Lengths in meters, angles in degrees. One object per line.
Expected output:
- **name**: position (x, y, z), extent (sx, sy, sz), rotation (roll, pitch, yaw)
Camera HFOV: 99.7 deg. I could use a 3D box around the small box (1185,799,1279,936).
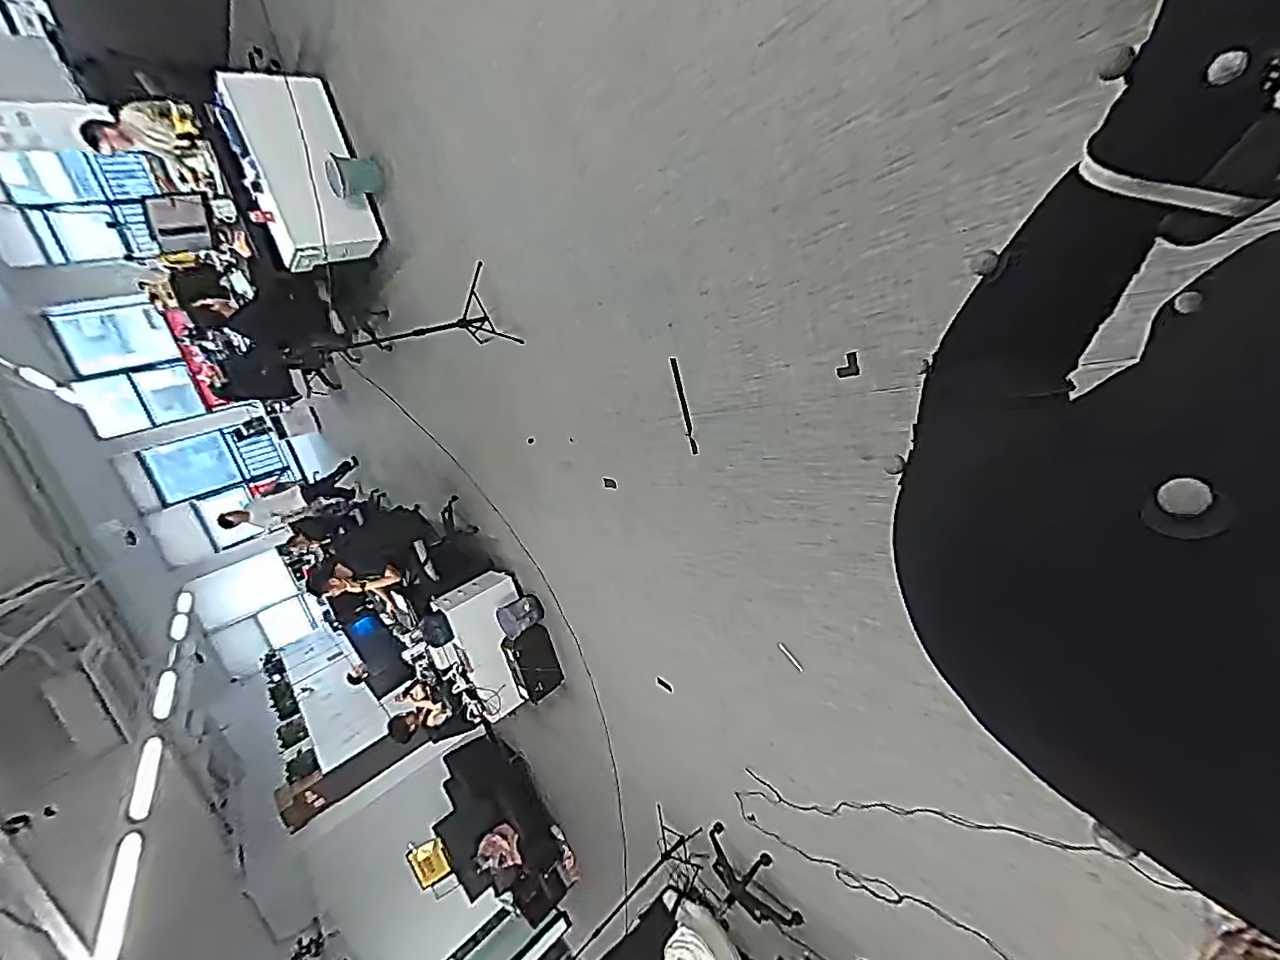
- **small box**: position (1.392, 0.884, 1.238), extent (0.168, 0.176, 0.179), rotation (-11, 102, 53)
